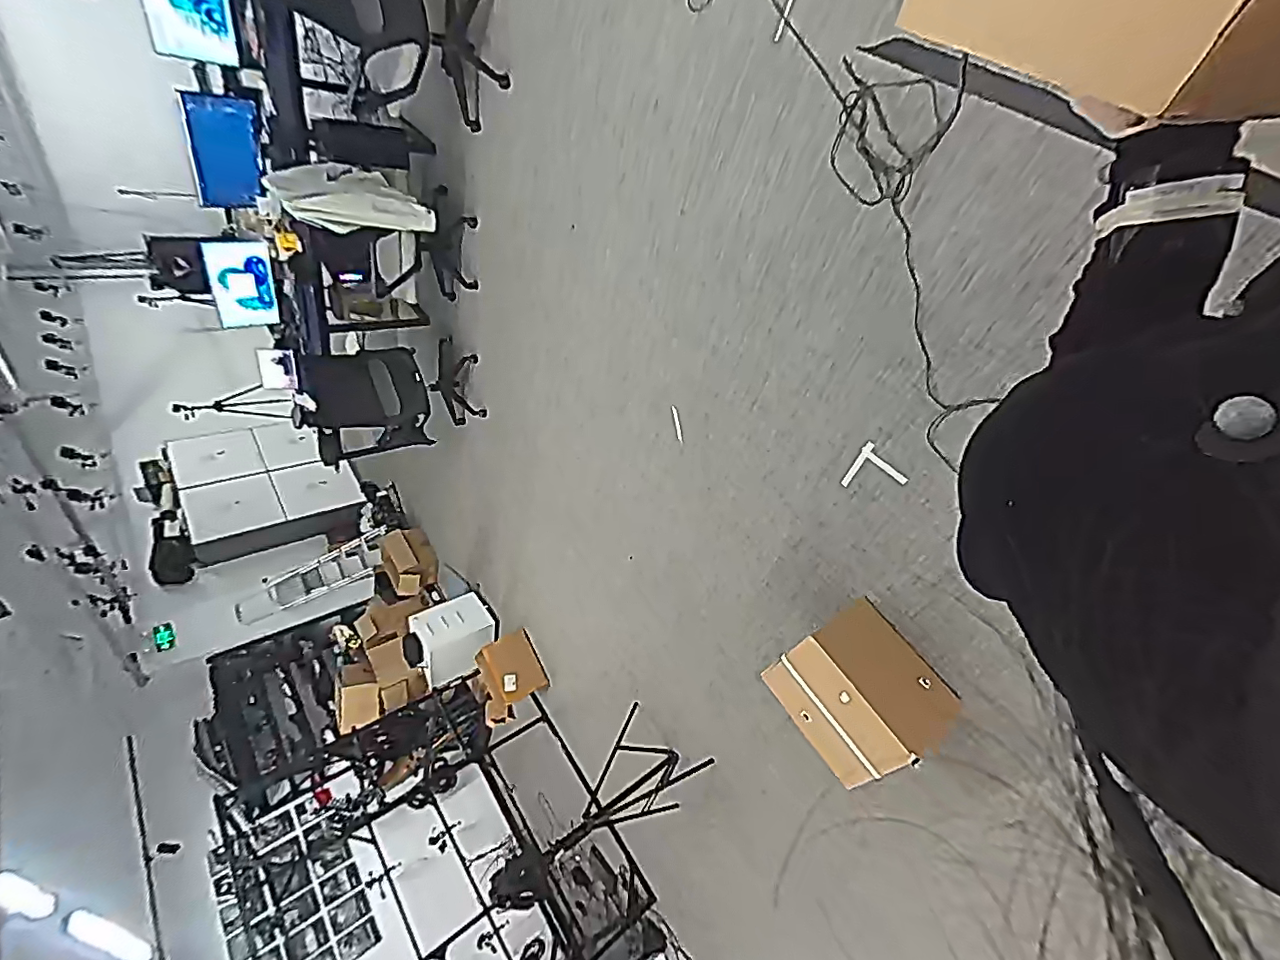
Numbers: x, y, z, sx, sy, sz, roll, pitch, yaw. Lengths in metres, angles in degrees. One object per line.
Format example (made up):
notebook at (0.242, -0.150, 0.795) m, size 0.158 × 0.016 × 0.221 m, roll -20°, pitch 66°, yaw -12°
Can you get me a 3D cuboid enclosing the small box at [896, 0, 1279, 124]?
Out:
small box at (0.282, -0.301, 0.268) m, size 0.179 × 0.176 × 0.168 m, roll 57°, pitch 152°, yaw 34°
